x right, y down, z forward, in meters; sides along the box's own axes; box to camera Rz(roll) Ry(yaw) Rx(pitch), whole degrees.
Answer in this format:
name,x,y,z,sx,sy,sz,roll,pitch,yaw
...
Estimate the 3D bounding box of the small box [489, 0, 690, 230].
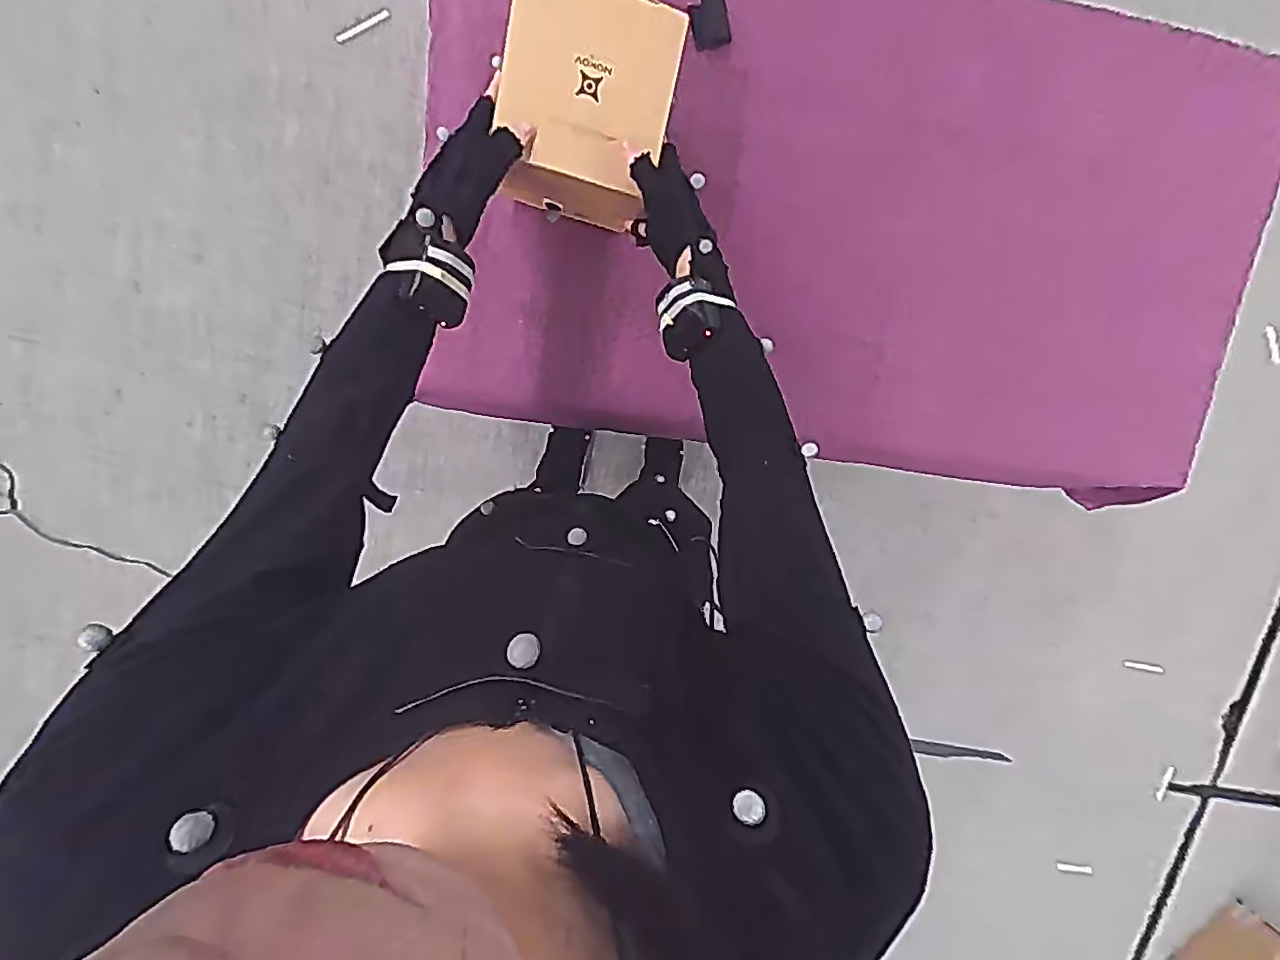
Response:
name,x,y,z,sx,sy,sz,roll,pitch,yaw
small box,-0.063,-0.399,0.590,0.168,0.176,0.179,10,102,-14
